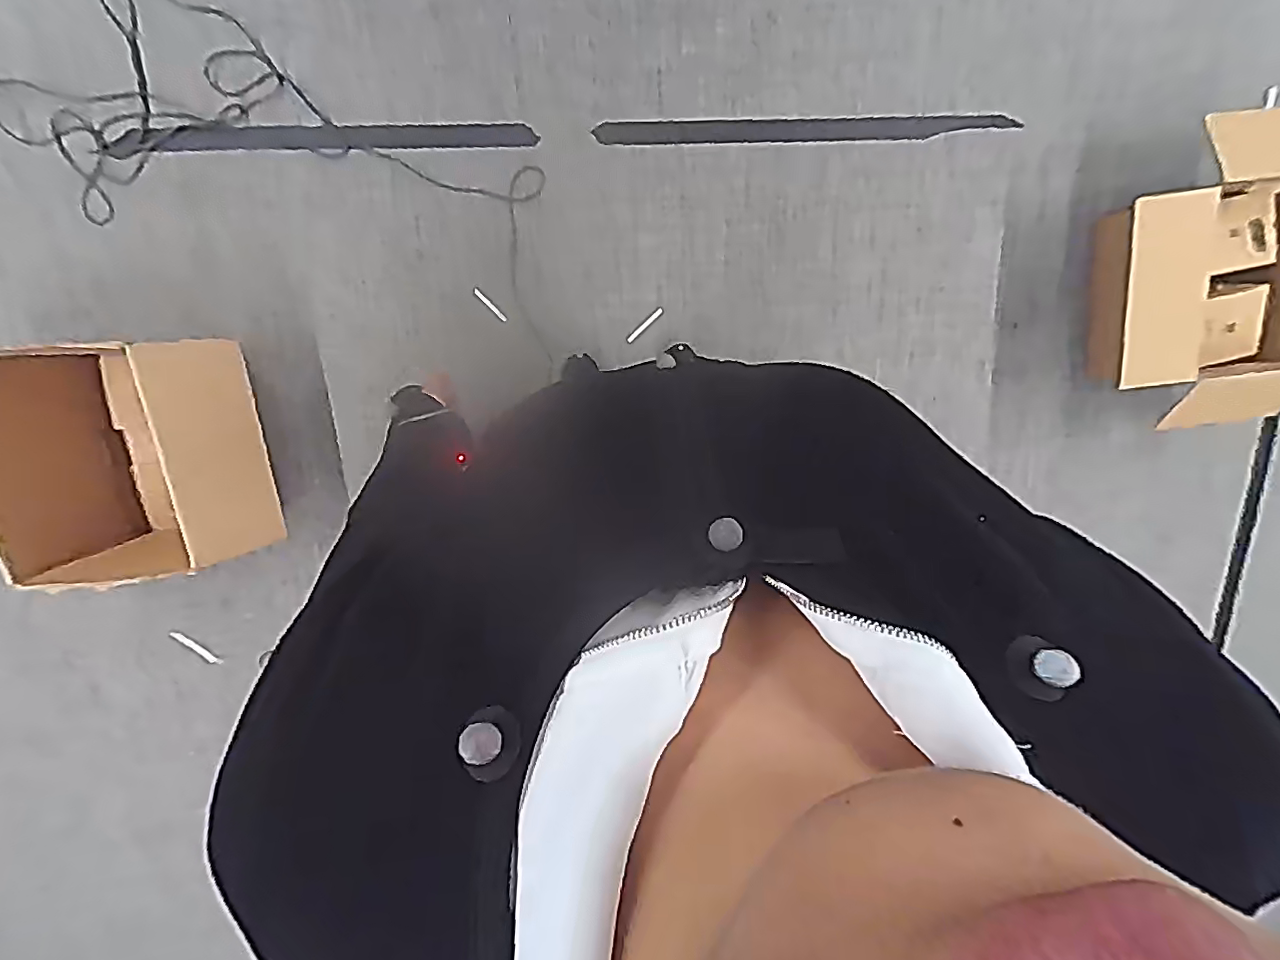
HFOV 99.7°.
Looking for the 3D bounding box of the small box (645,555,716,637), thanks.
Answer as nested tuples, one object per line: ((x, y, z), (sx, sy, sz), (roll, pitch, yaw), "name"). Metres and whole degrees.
((0.105, 0.306, 1.456), (0.179, 0.176, 0.168), (-2, 101, -1), "small box")
